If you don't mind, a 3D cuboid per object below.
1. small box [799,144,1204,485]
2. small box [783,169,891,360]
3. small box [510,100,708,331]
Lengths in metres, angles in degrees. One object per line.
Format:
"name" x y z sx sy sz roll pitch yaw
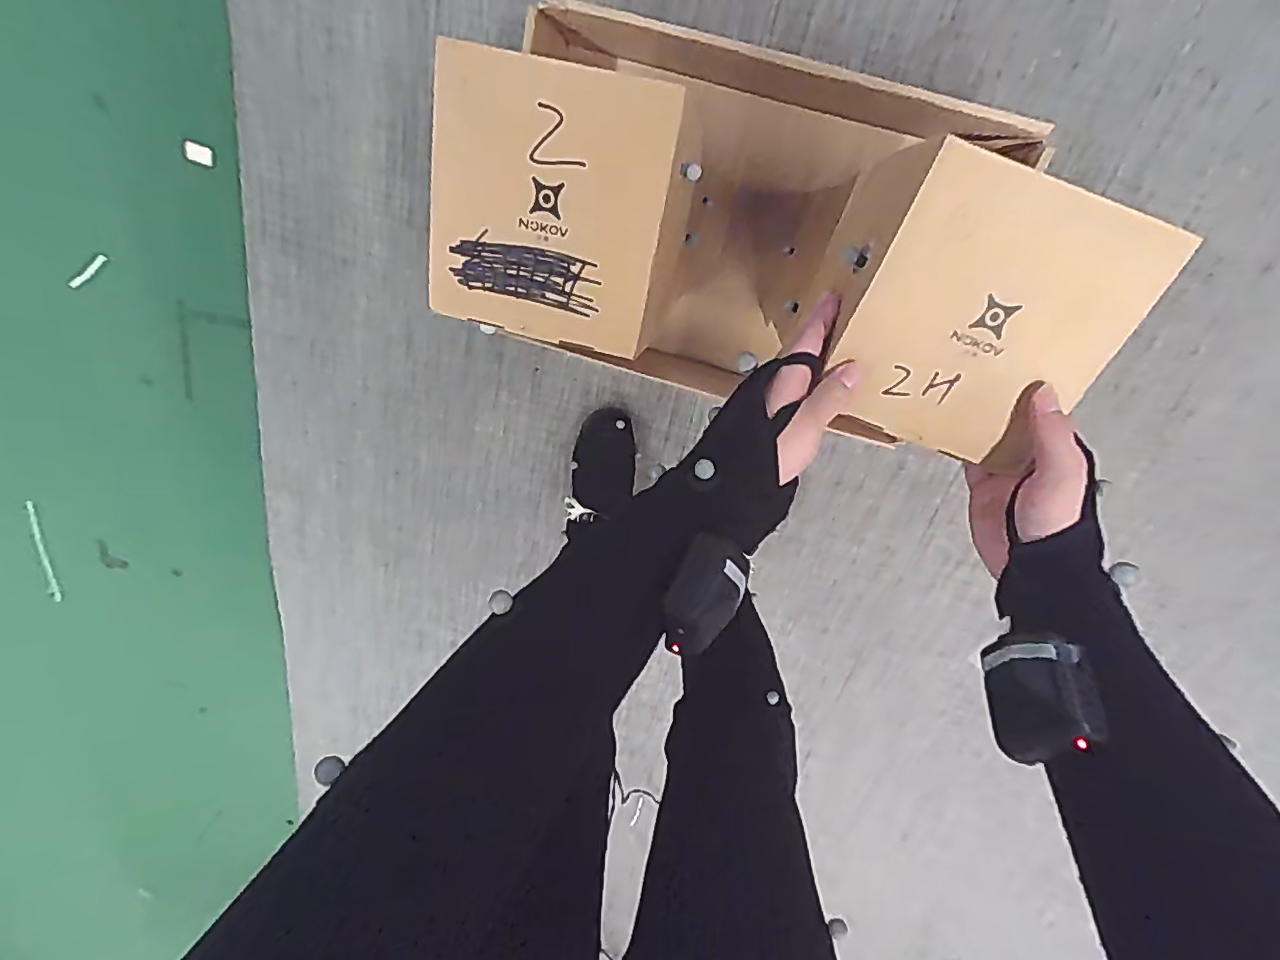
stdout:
"small box" 0.240 -0.130 0.424 0.168 0.176 0.179 21 118 -2
"small box" 0.264 -0.204 0.578 0.168 0.176 0.179 20 117 0
"small box" -0.025 -0.279 0.593 0.168 0.176 0.179 15 115 4
